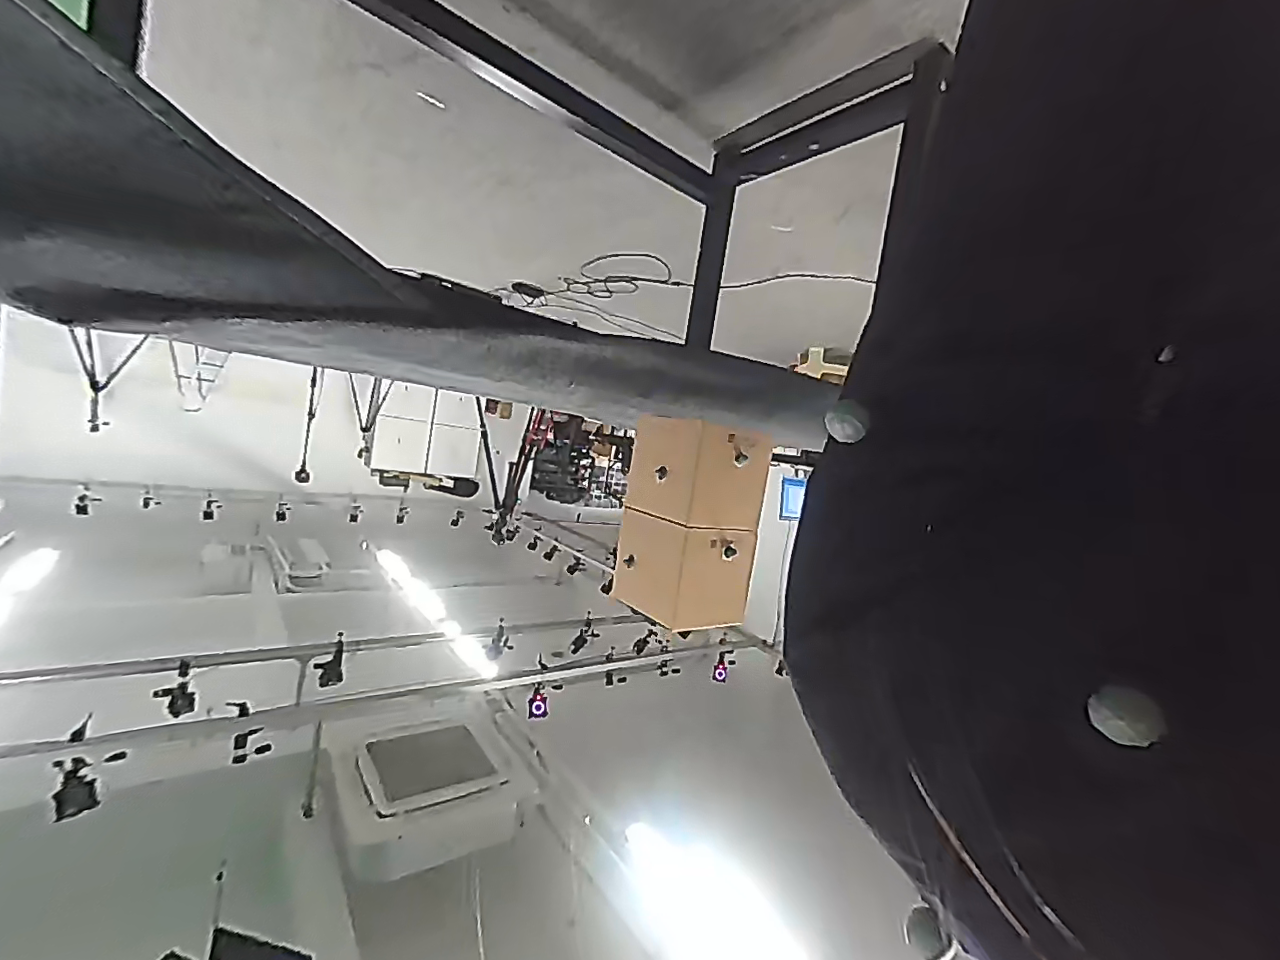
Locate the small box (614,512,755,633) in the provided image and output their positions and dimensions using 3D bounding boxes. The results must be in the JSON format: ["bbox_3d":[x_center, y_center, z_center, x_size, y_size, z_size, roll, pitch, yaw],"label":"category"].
[{"bbox_3d":[0.077,0.148,0.935,0.168,0.176,0.179,5,-176,-36],"label":"small box"}]

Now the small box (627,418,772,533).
[{"bbox_3d":[0.102,-0.012,0.926,0.168,0.176,0.179,6,-176,-36],"label":"small box"}]
